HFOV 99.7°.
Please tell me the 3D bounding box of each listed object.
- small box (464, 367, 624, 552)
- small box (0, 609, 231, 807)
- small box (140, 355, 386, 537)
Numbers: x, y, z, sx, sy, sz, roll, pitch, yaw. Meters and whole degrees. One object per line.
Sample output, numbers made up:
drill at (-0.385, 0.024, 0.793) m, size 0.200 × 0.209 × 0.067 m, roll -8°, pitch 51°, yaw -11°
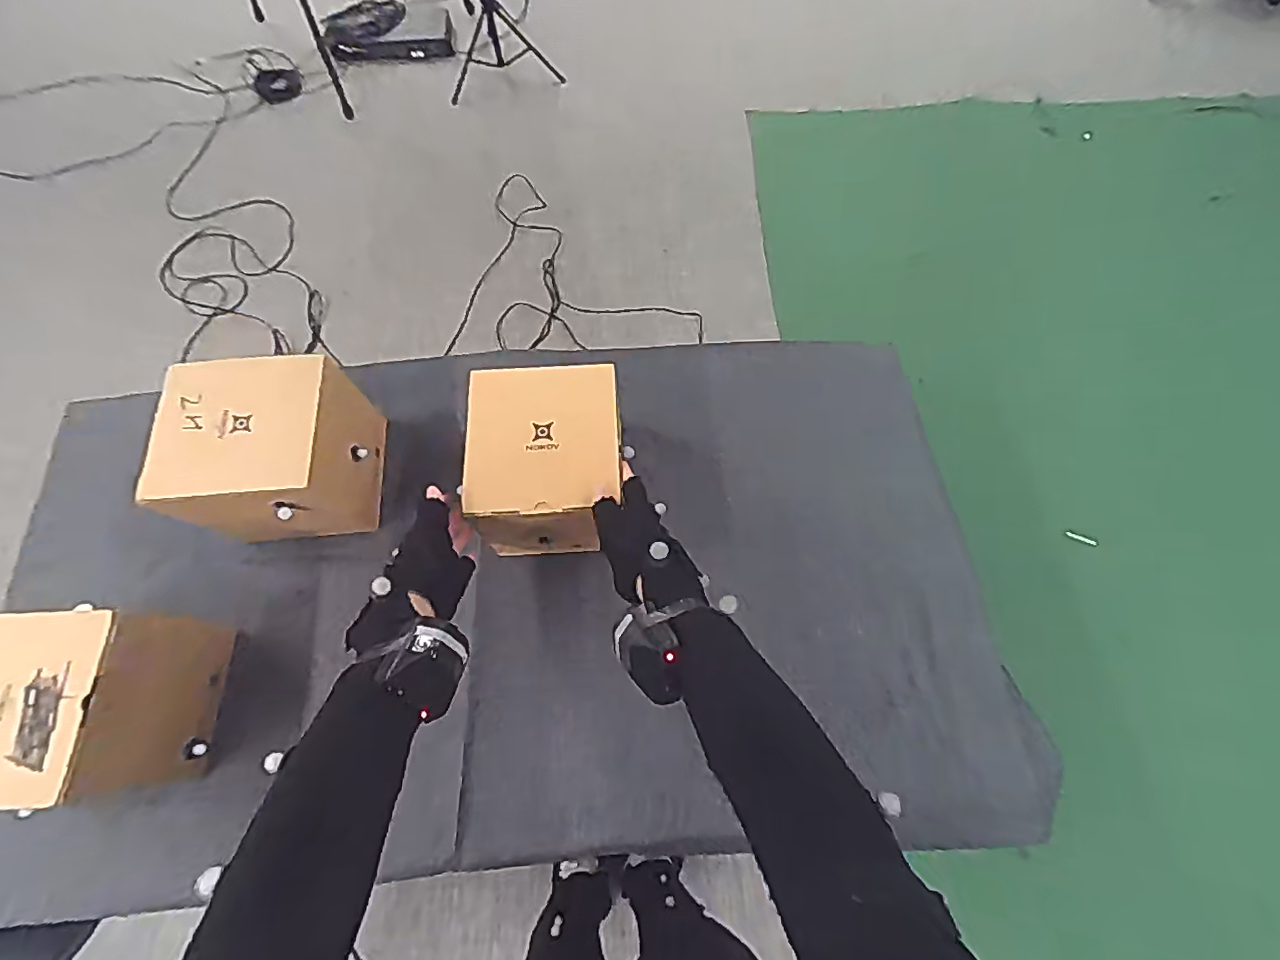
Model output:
small box at (-0.105, -0.018, 0.660) m, size 0.168 × 0.176 × 0.179 m, roll -3°, pitch 70°, yaw -2°
small box at (-0.574, 0.227, 0.555) m, size 0.179 × 0.176 × 0.168 m, roll -2°, pitch 68°, yaw -1°
small box at (-0.432, -0.033, 0.657) m, size 0.179 × 0.176 × 0.168 m, roll -4°, pitch 69°, yaw -2°
